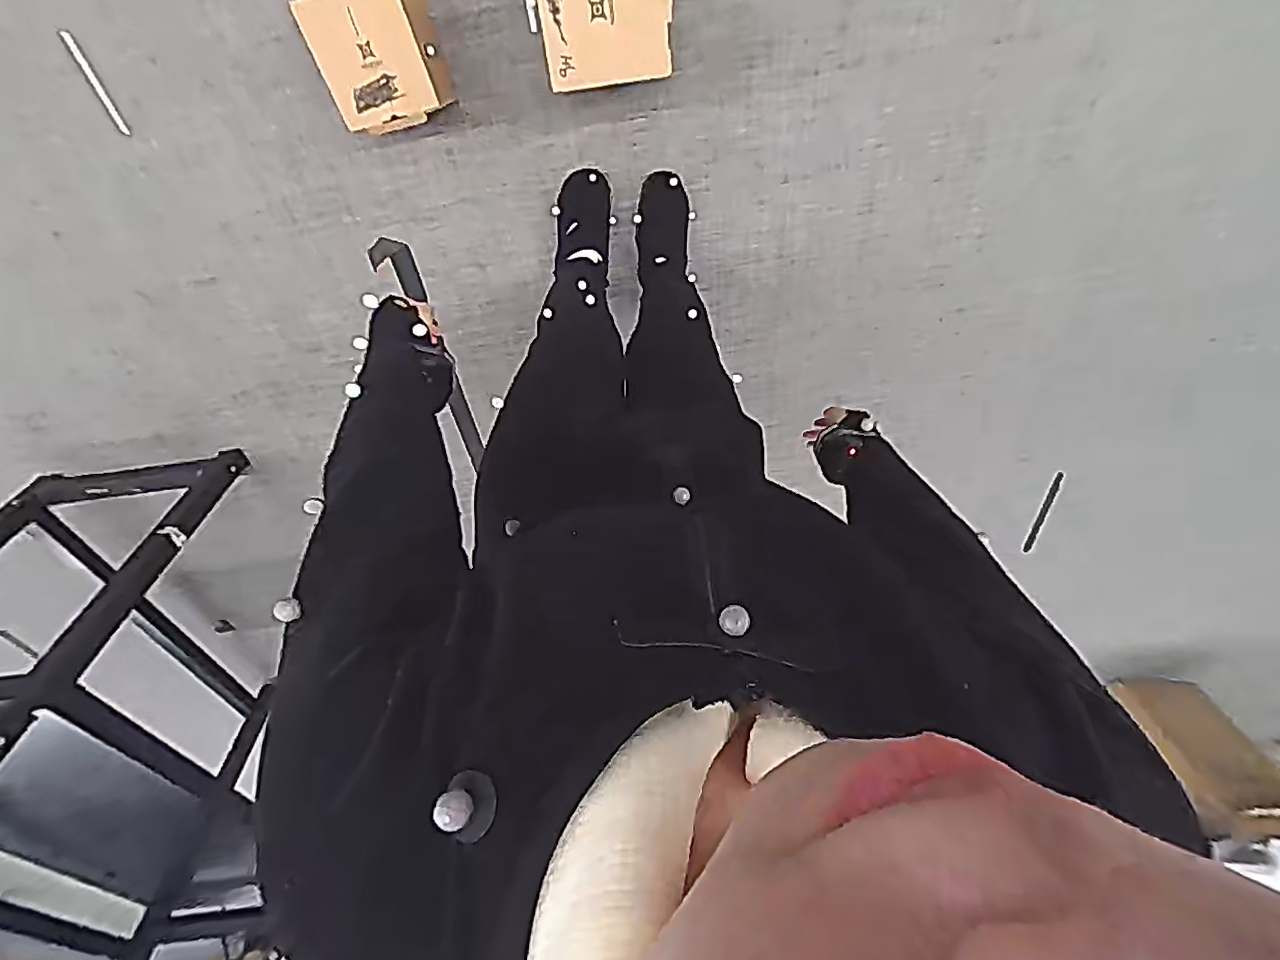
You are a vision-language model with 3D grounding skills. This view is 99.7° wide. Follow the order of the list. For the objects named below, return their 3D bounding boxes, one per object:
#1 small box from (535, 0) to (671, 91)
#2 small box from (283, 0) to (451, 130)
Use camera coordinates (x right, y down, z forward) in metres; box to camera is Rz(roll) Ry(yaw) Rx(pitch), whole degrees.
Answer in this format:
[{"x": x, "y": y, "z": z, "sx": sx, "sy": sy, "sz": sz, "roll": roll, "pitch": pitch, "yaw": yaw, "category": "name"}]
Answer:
[{"x": -0.057, "y": -0.673, "z": 0.775, "sx": 0.179, "sy": 0.176, "sz": 0.168, "roll": -7, "pitch": 129, "yaw": 0, "category": "small box"}, {"x": -0.440, "y": -0.718, "z": 0.909, "sx": 0.168, "sy": 0.176, "sz": 0.179, "roll": -12, "pitch": 129, "yaw": 4, "category": "small box"}]
